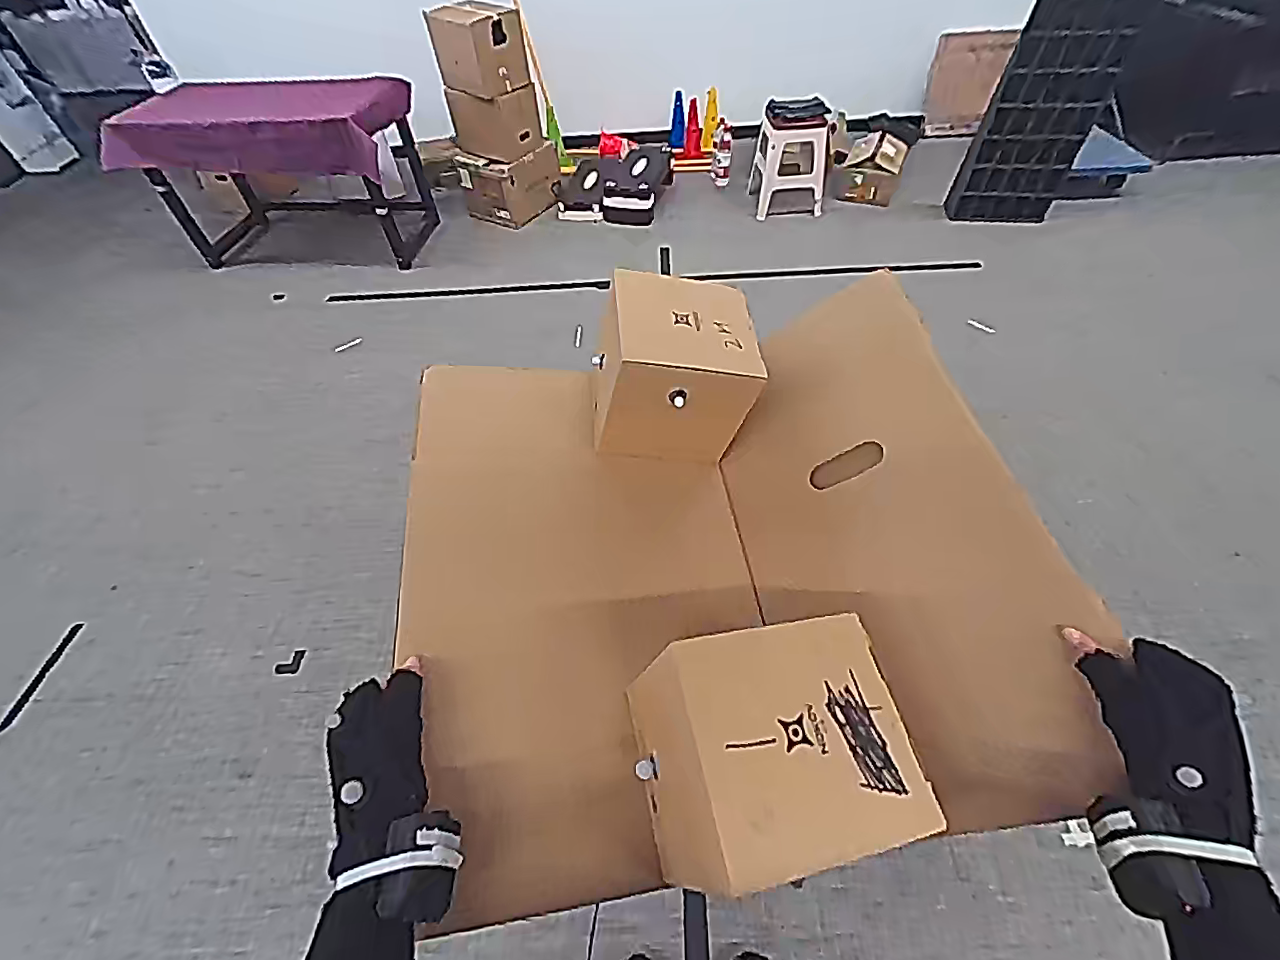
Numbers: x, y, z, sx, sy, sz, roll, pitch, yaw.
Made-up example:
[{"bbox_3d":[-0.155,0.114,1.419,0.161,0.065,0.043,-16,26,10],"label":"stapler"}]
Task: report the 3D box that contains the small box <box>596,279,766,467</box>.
[{"bbox_3d":[0.038,-0.132,0.709,0.179,0.176,0.168,5,55,-14],"label":"small box"}]
